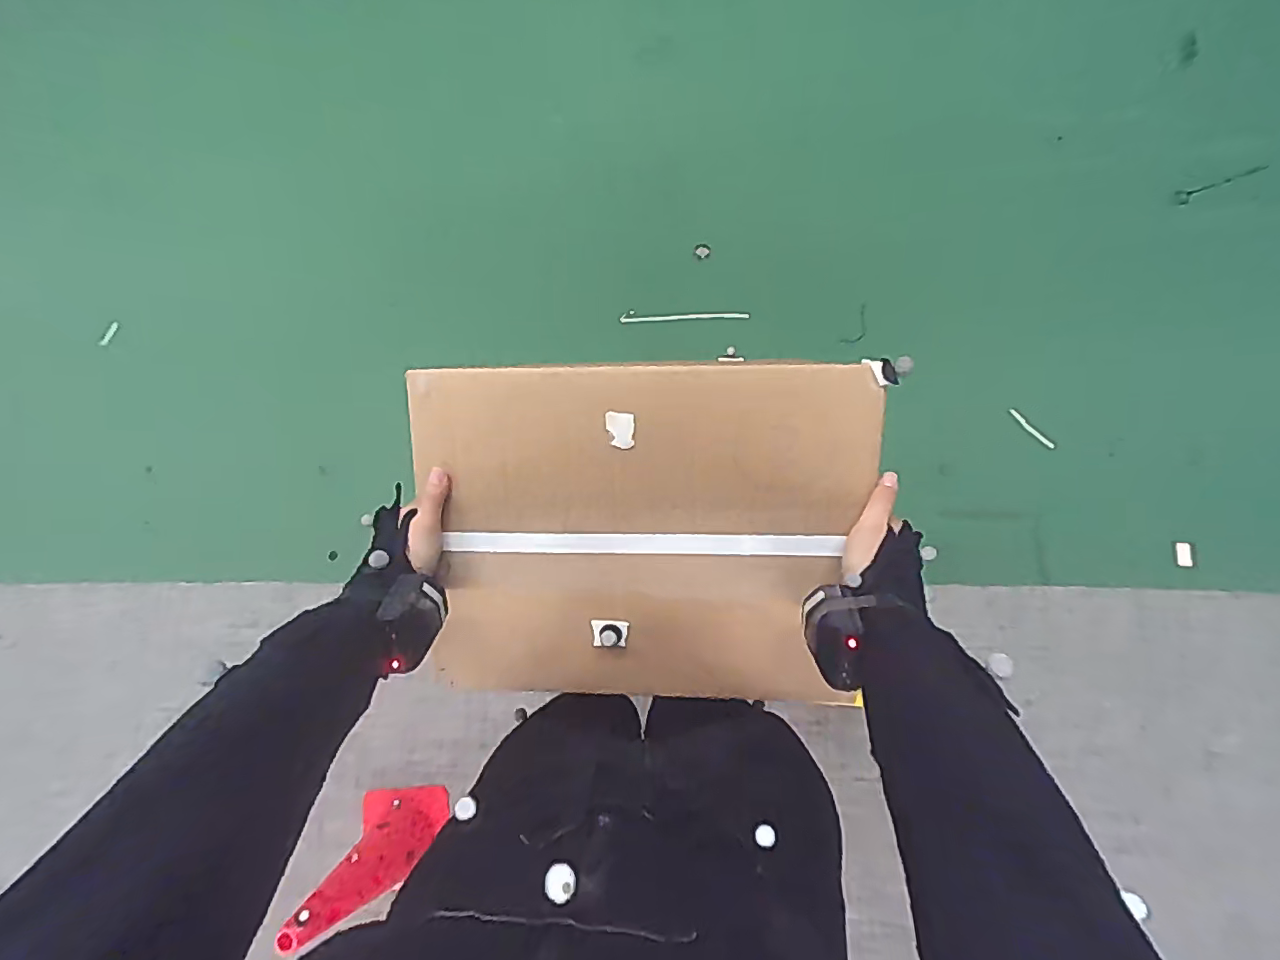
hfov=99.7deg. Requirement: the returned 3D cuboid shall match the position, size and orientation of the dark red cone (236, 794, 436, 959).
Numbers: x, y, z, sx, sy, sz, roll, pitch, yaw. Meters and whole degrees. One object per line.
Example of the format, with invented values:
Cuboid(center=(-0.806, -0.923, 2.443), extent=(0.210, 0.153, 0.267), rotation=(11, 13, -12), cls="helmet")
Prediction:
Cuboid(center=(-0.546, 0.735, 0.980), extent=(0.202, 0.394, 0.201), rotation=(-8, 75, 6), cls="dark red cone")
